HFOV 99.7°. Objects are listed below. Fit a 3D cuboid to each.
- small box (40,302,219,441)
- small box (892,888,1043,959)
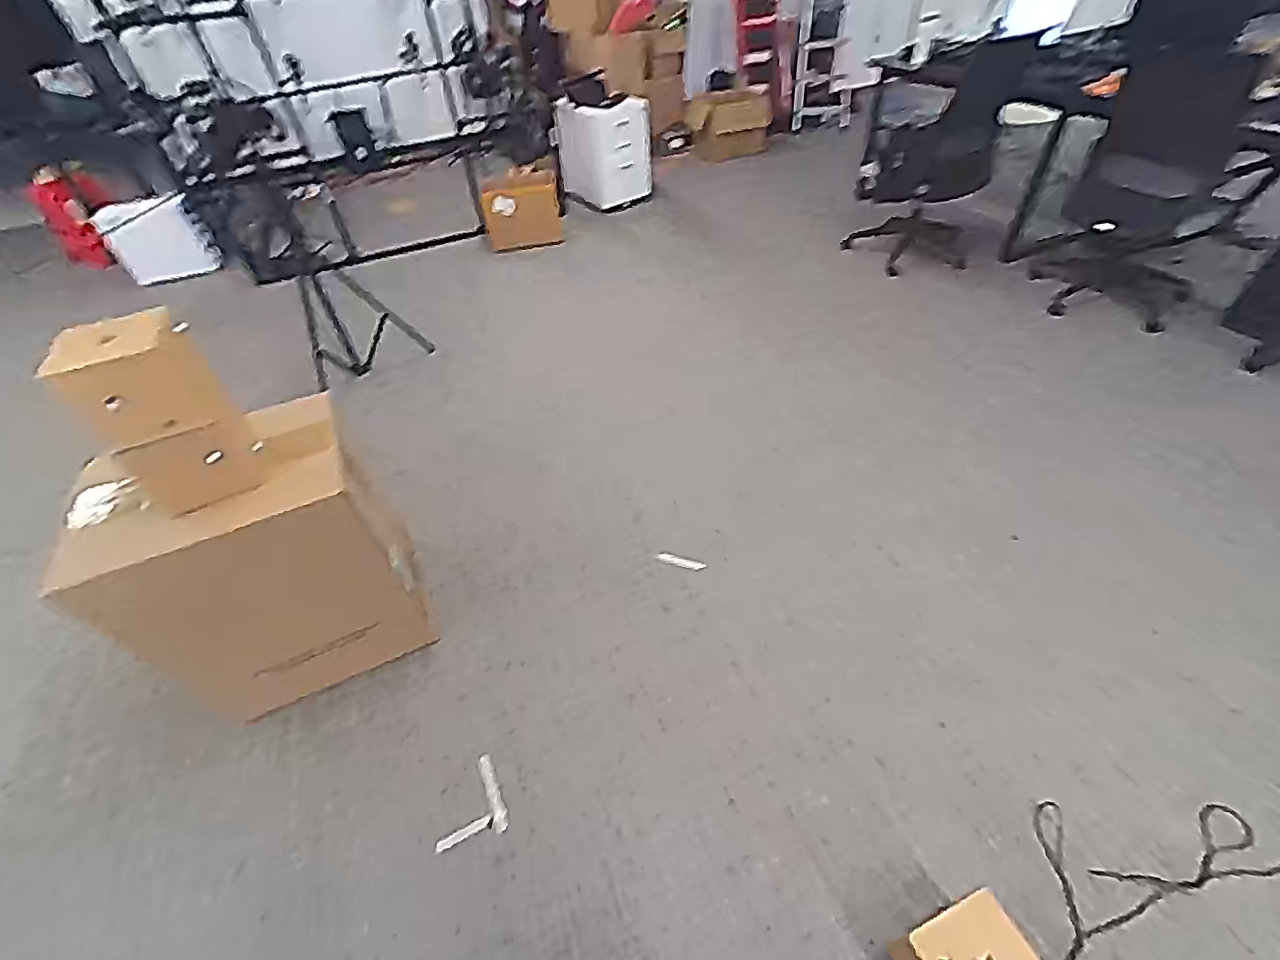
[{"bbox_3d":[-0.903,-0.191,0.980,0.168,0.176,0.179,-23,47,-17],"label":"small box"},{"bbox_3d":[0.570,0.846,0.928,0.179,0.176,0.168,-19,45,-13],"label":"small box"}]
